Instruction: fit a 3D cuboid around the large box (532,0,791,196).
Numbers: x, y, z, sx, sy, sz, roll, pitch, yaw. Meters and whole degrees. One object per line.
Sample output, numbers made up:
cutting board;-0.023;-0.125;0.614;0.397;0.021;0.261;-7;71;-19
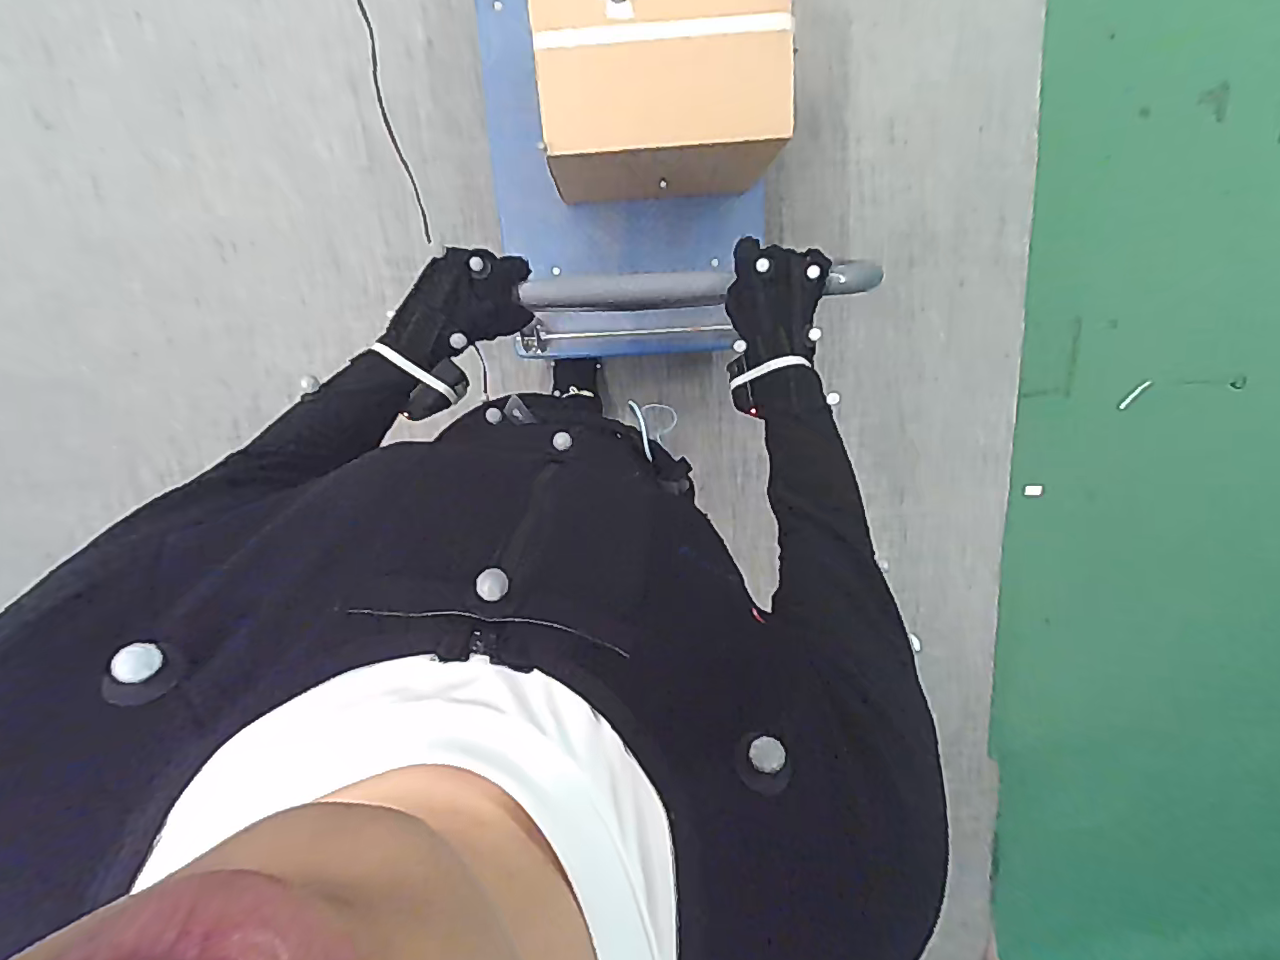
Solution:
large box;0.035;-0.735;0.987;0.408;0.320;0.320;-4;104;0
